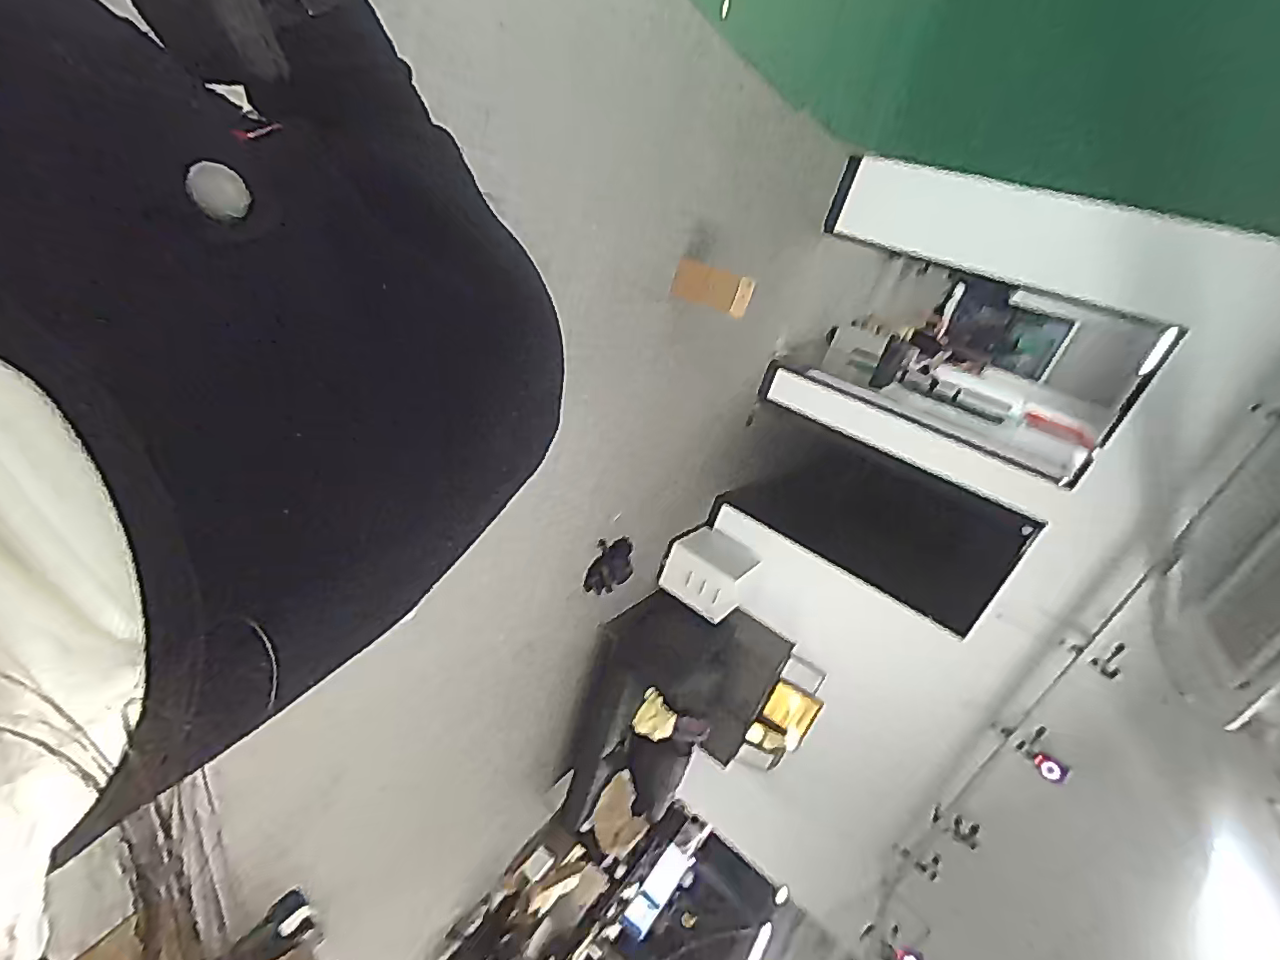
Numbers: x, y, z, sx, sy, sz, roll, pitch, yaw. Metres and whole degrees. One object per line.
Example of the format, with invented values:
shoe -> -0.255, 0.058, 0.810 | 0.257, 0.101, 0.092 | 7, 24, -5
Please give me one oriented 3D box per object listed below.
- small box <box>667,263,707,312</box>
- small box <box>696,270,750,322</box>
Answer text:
small box -> 0.250, -0.925, 2.594 | 0.168, 0.176, 0.179 | -18, 129, -56
small box -> 0.383, -0.858, 2.524 | 0.168, 0.176, 0.179 | -15, 129, -57
